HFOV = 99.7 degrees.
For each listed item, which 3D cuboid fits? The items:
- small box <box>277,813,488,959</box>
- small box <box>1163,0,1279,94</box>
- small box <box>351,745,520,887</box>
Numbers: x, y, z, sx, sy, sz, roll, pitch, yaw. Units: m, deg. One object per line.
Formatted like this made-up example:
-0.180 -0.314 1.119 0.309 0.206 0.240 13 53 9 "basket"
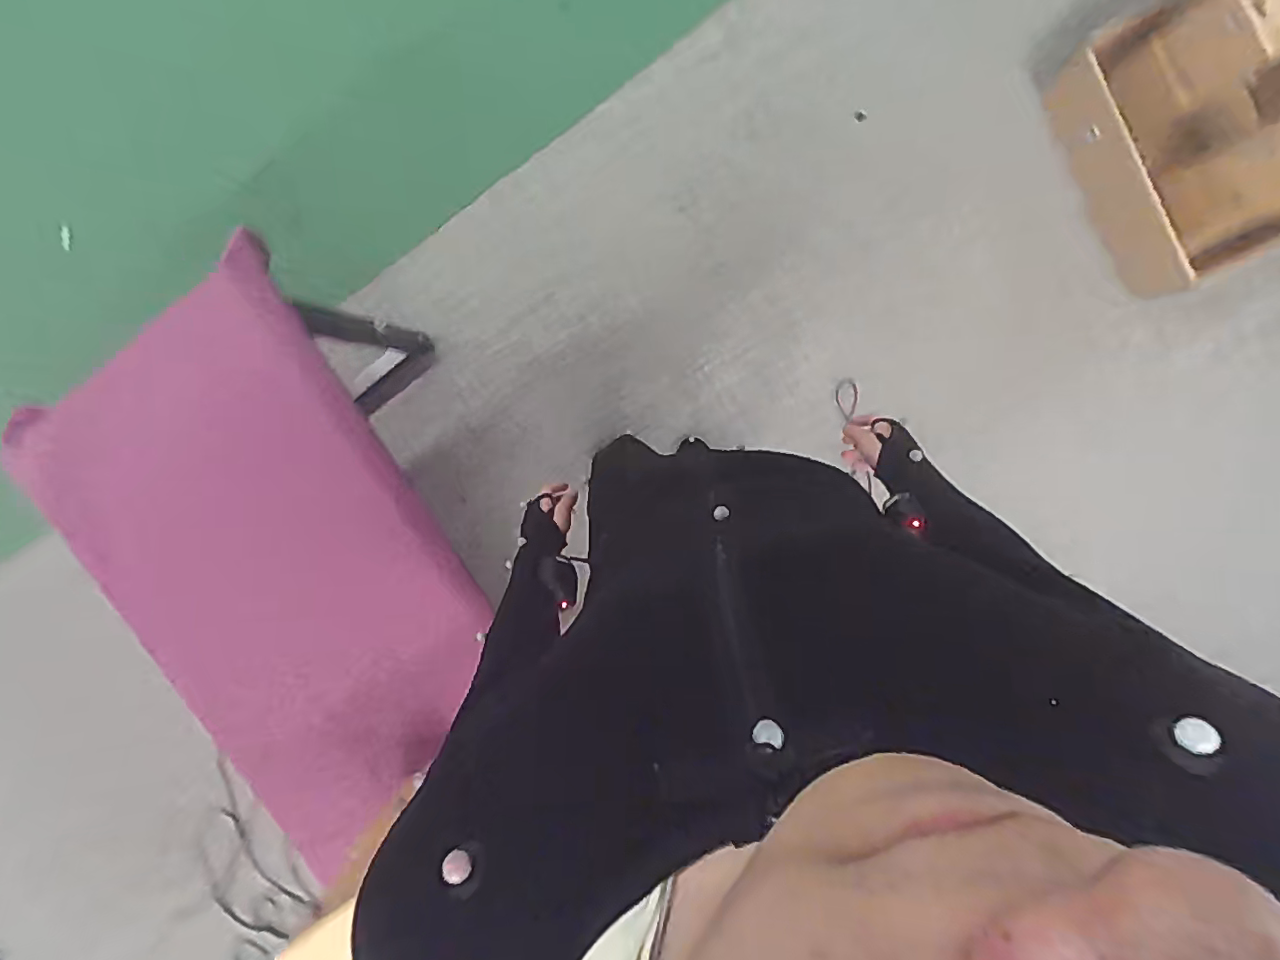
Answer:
-0.351 0.630 0.766 0.179 0.176 0.168 -40 92 9 "small box"
1.220 -0.927 1.070 0.179 0.176 0.168 -31 93 8 "small box"
-0.338 0.604 0.929 0.179 0.176 0.168 -39 92 9 "small box"
